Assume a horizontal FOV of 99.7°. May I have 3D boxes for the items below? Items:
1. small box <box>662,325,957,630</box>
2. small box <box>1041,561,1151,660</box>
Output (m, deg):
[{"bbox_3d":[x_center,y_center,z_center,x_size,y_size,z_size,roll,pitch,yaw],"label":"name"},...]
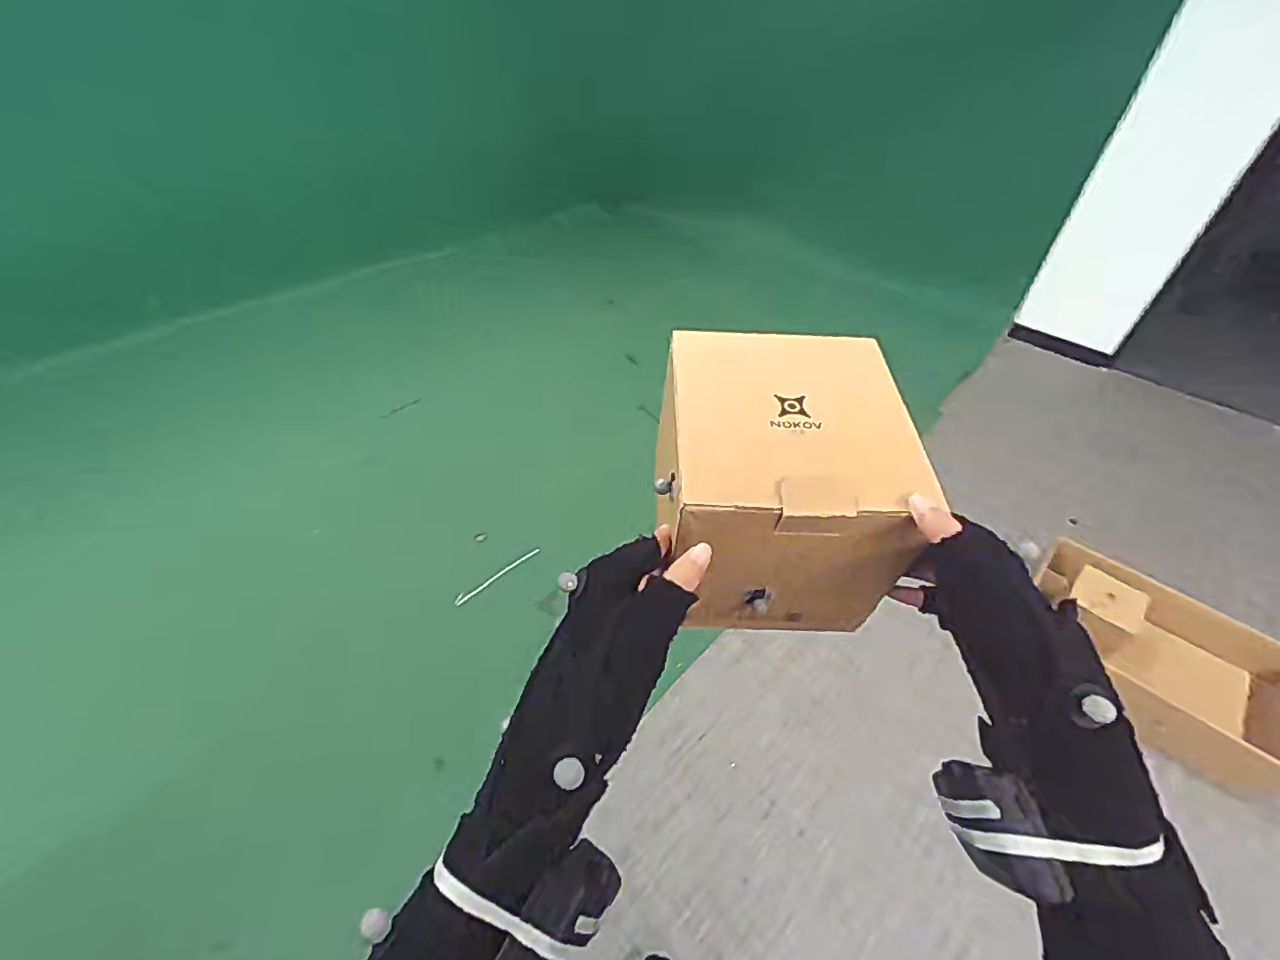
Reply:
[{"bbox_3d":[0.106,0.001,0.435,0.168,0.176,0.179,3,53,-2],"label":"small box"},{"bbox_3d":[1.293,0.372,1.543,0.168,0.176,0.179,35,53,29],"label":"small box"}]
